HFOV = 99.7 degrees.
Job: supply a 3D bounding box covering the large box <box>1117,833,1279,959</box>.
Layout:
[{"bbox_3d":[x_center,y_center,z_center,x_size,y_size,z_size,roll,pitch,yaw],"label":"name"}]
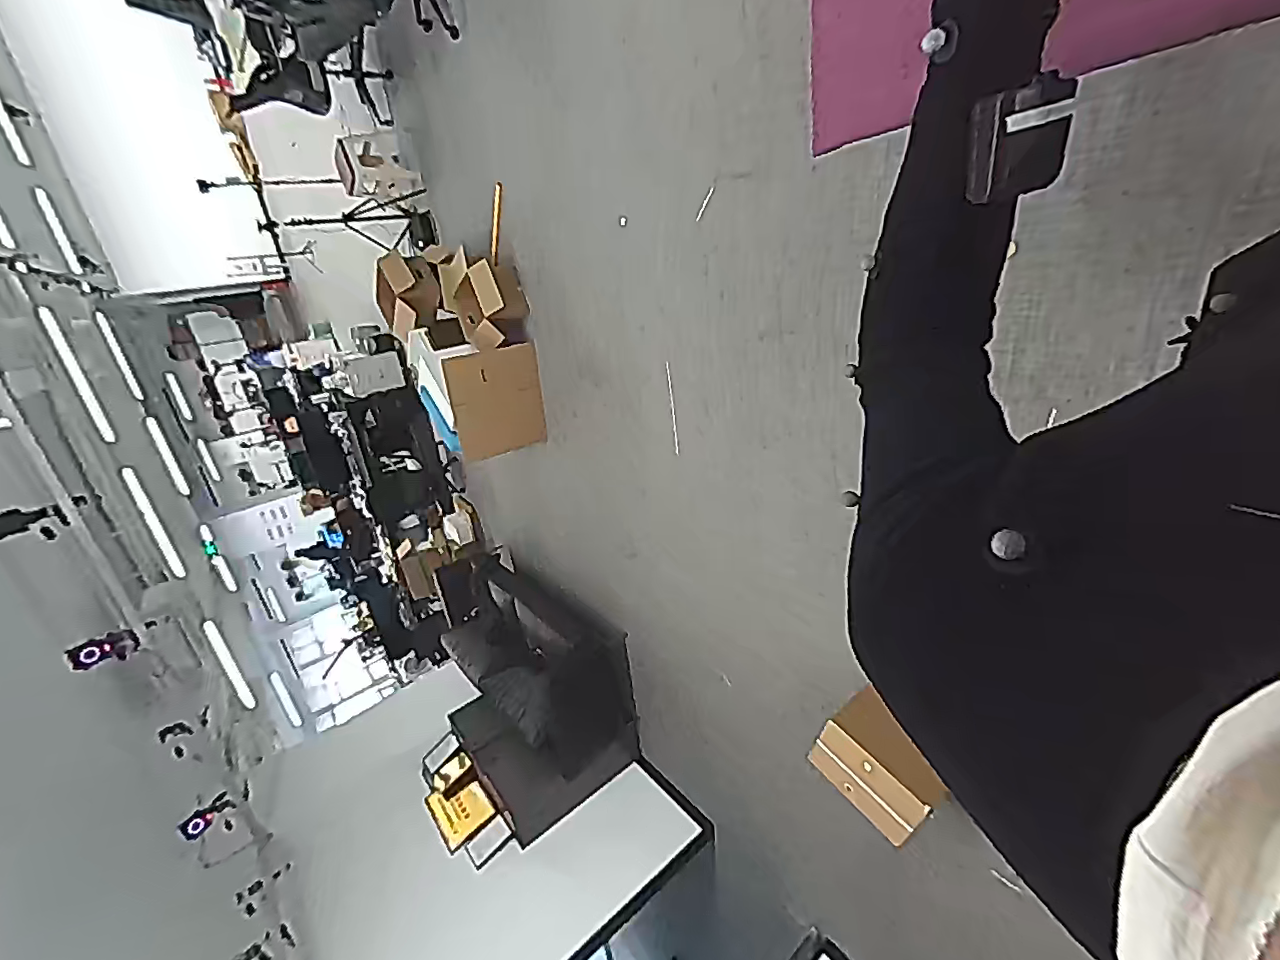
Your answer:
[{"bbox_3d":[1.503,1.130,1.302,0.408,0.320,0.320,-34,81,56],"label":"large box"}]
